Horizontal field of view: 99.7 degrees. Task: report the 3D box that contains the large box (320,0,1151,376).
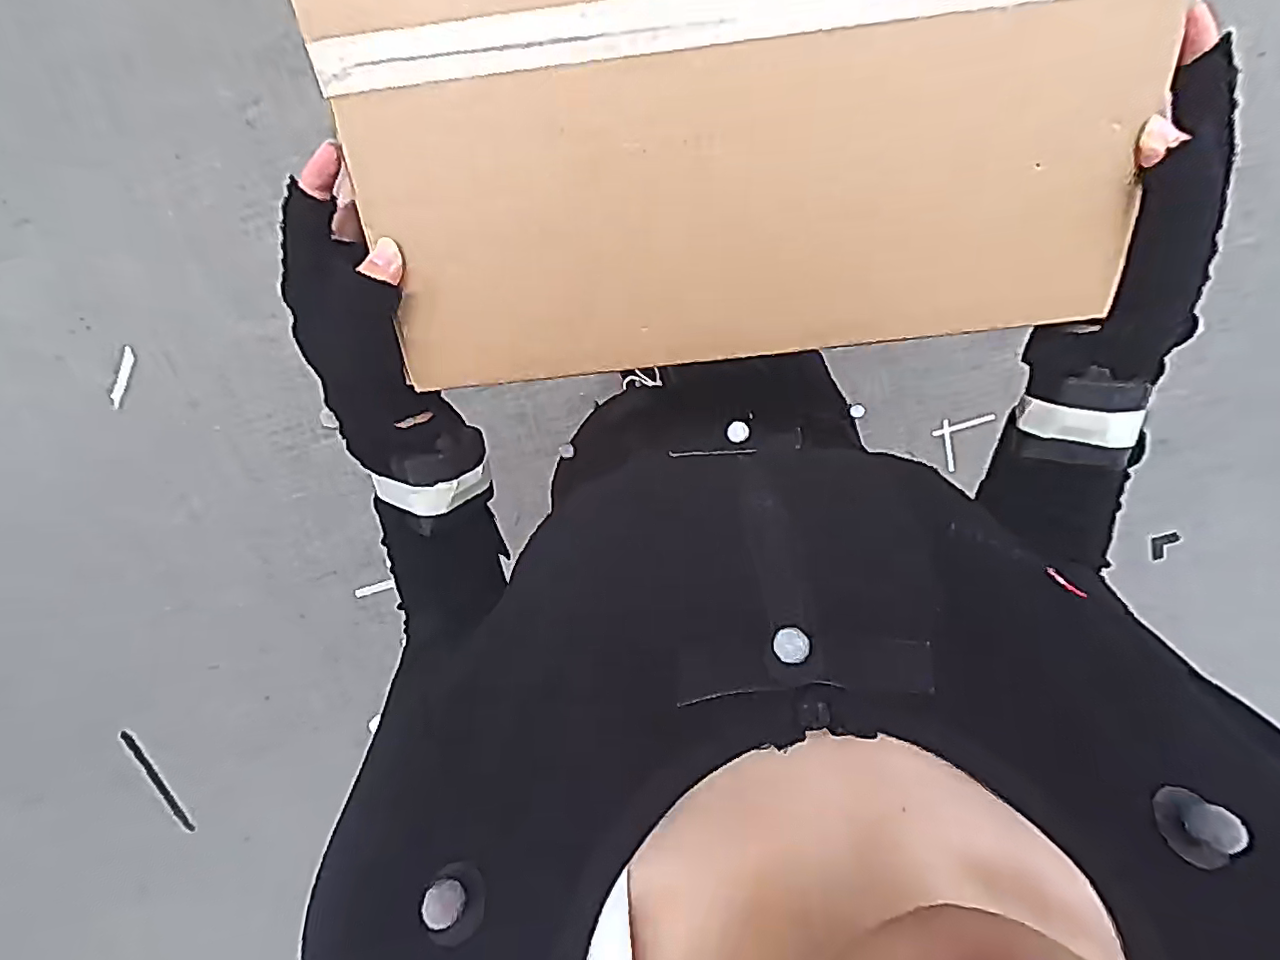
[{"bbox_3d":[0.043,-0.285,0.398,0.408,0.320,0.320,-6,115,2],"label":"large box"}]
